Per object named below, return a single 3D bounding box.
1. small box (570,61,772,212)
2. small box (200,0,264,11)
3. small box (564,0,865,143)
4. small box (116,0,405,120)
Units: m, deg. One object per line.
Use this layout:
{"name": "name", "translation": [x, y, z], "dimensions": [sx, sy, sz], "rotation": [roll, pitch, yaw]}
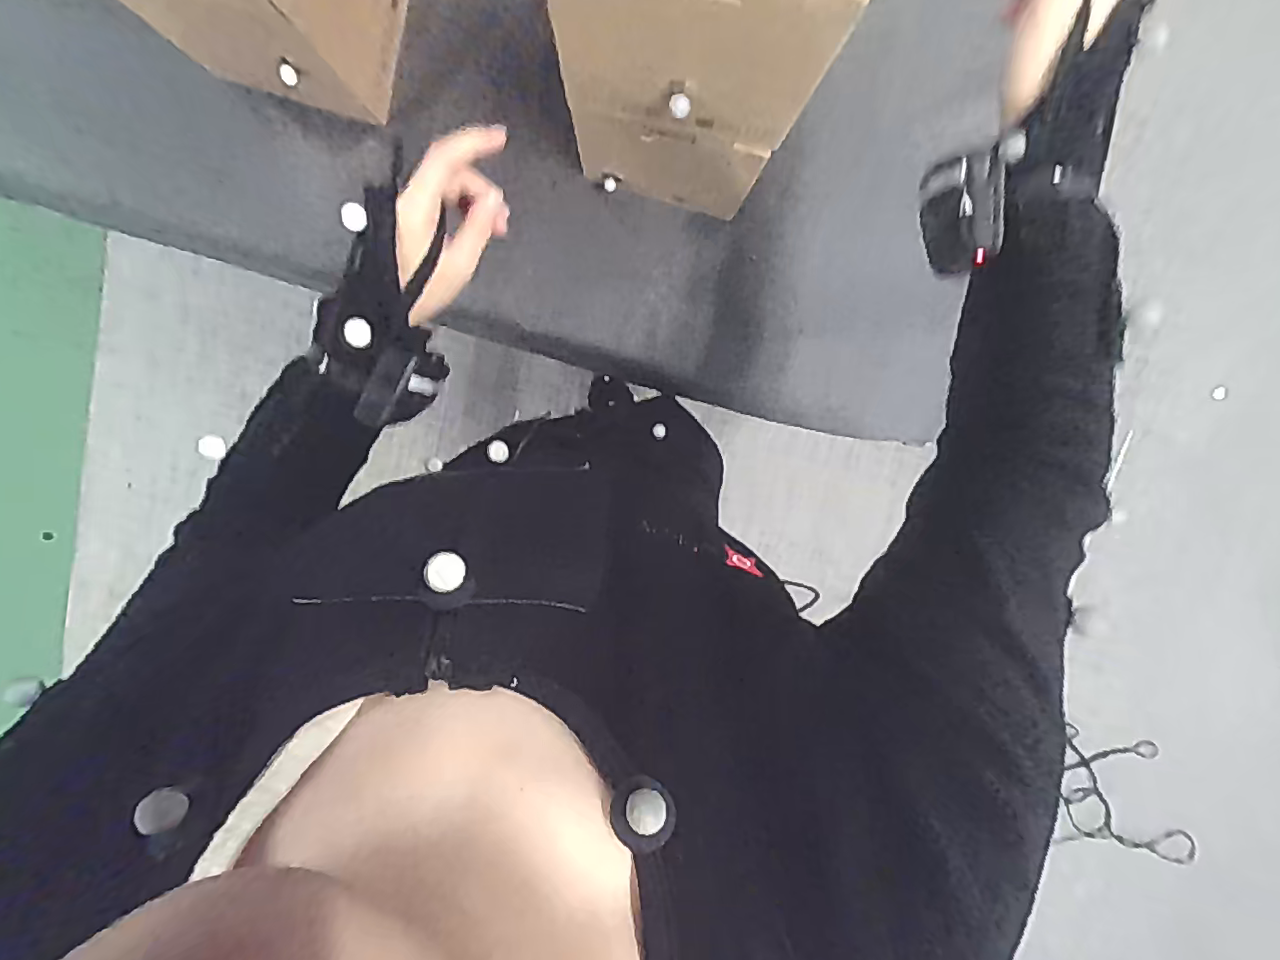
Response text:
{"name": "small box", "translation": [0.043, -0.371, 0.487], "dimensions": [0.168, 0.176, 0.179], "rotation": [14, 97, -4]}
{"name": "small box", "translation": [-0.317, -0.419, 0.301], "dimensions": [0.179, 0.176, 0.168], "rotation": [11, 97, -4]}
{"name": "small box", "translation": [0.045, -0.344, 0.324], "dimensions": [0.168, 0.176, 0.179], "rotation": [9, 98, -3]}
{"name": "small box", "translation": [-0.321, -0.449, 0.463], "dimensions": [0.179, 0.176, 0.168], "rotation": [14, 97, -3]}
